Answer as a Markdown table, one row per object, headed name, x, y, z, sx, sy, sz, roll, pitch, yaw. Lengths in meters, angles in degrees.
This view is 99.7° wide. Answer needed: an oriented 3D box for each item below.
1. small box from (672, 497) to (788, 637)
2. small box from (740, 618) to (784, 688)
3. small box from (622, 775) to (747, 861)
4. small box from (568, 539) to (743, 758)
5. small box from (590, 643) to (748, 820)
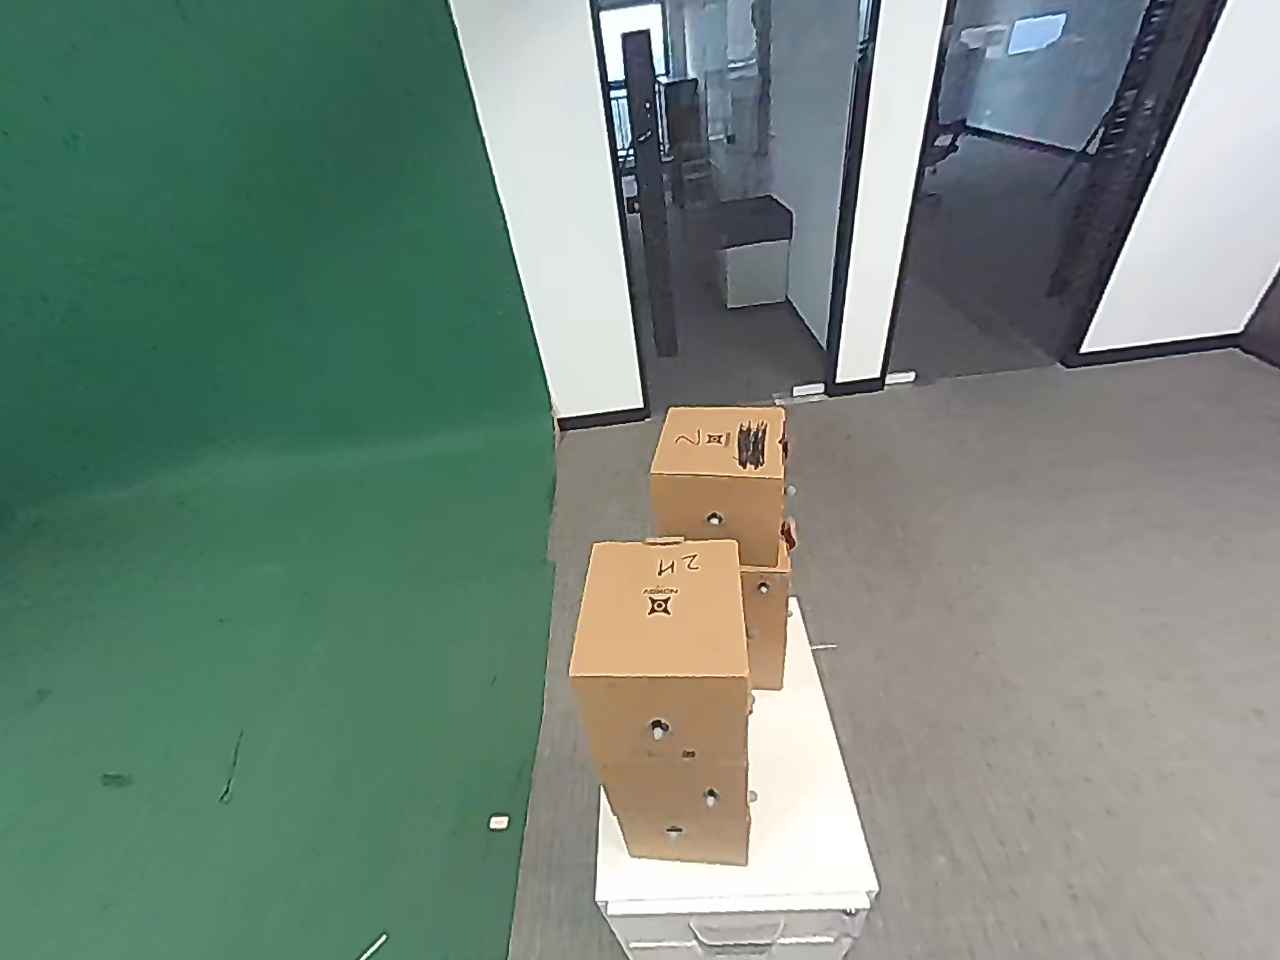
| name | x | y | z | sx | sy | sz | roll | pitch | yaw |
| --- | --- | --- | --- | --- | --- | --- | --- | --- | --- |
| small box | 0.147 | 0.144 | 0.899 | 0.179 | 0.176 | 0.168 | 0 | 39 | 9 |
| small box | 0.171 | 0.267 | 1.003 | 0.179 | 0.176 | 0.168 | -1 | 40 | 10 |
| small box | 0.067 | 0.441 | 0.804 | 0.179 | 0.176 | 0.168 | 0 | 39 | 8 |
| small box | 0.028 | 0.186 | 0.603 | 0.168 | 0.176 | 0.179 | -1 | 37 | 7 |
| small box | 0.046 | 0.317 | 0.702 | 0.179 | 0.176 | 0.168 | -2 | 37 | 9 |
